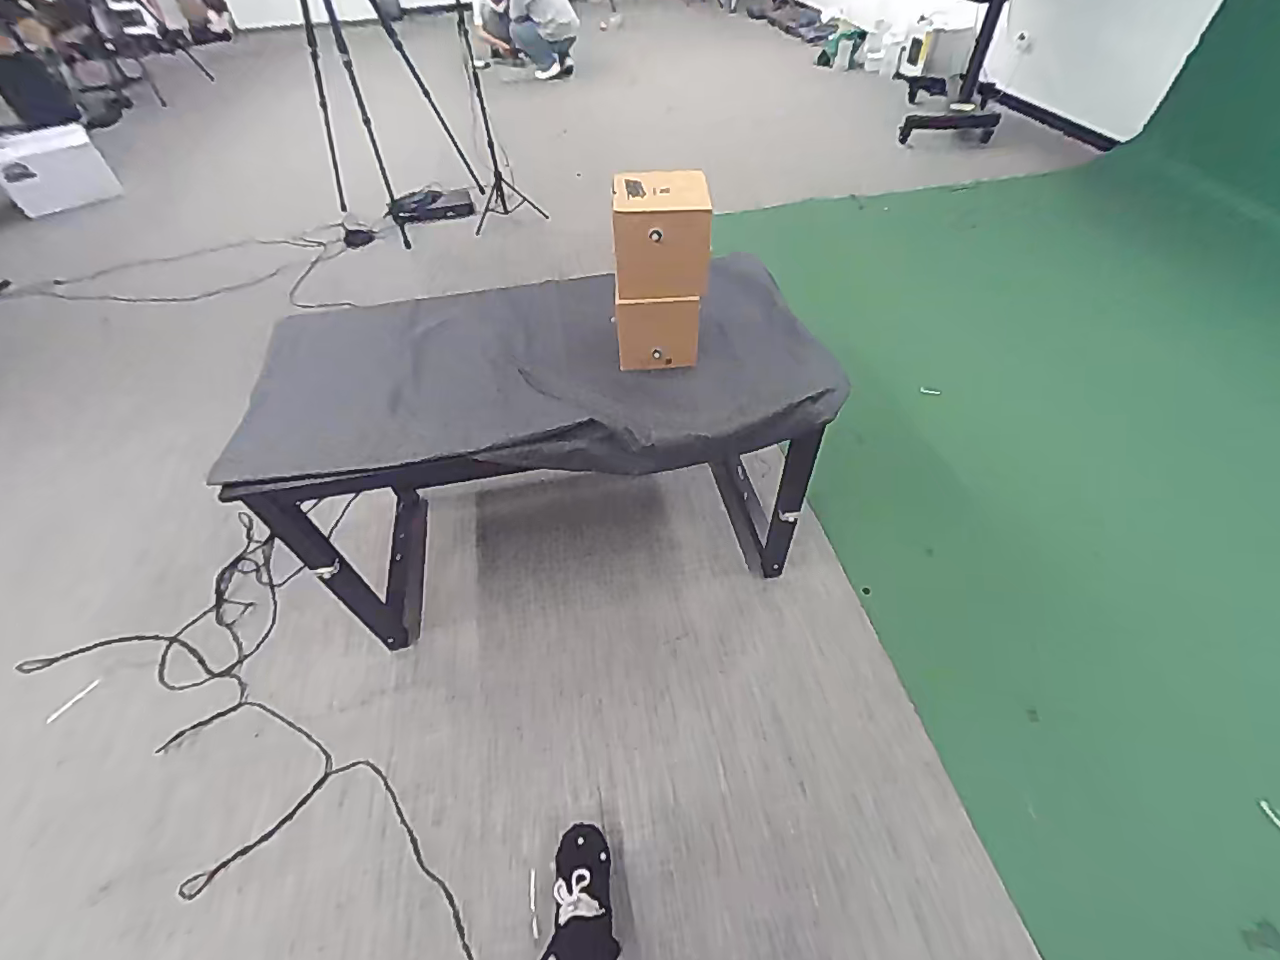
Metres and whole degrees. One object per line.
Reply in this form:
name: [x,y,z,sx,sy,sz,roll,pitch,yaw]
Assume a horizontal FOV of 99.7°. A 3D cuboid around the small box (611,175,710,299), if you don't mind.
small box: [0.039,-0.466,1.046,0.179,0.176,0.168,-2,50,1]
